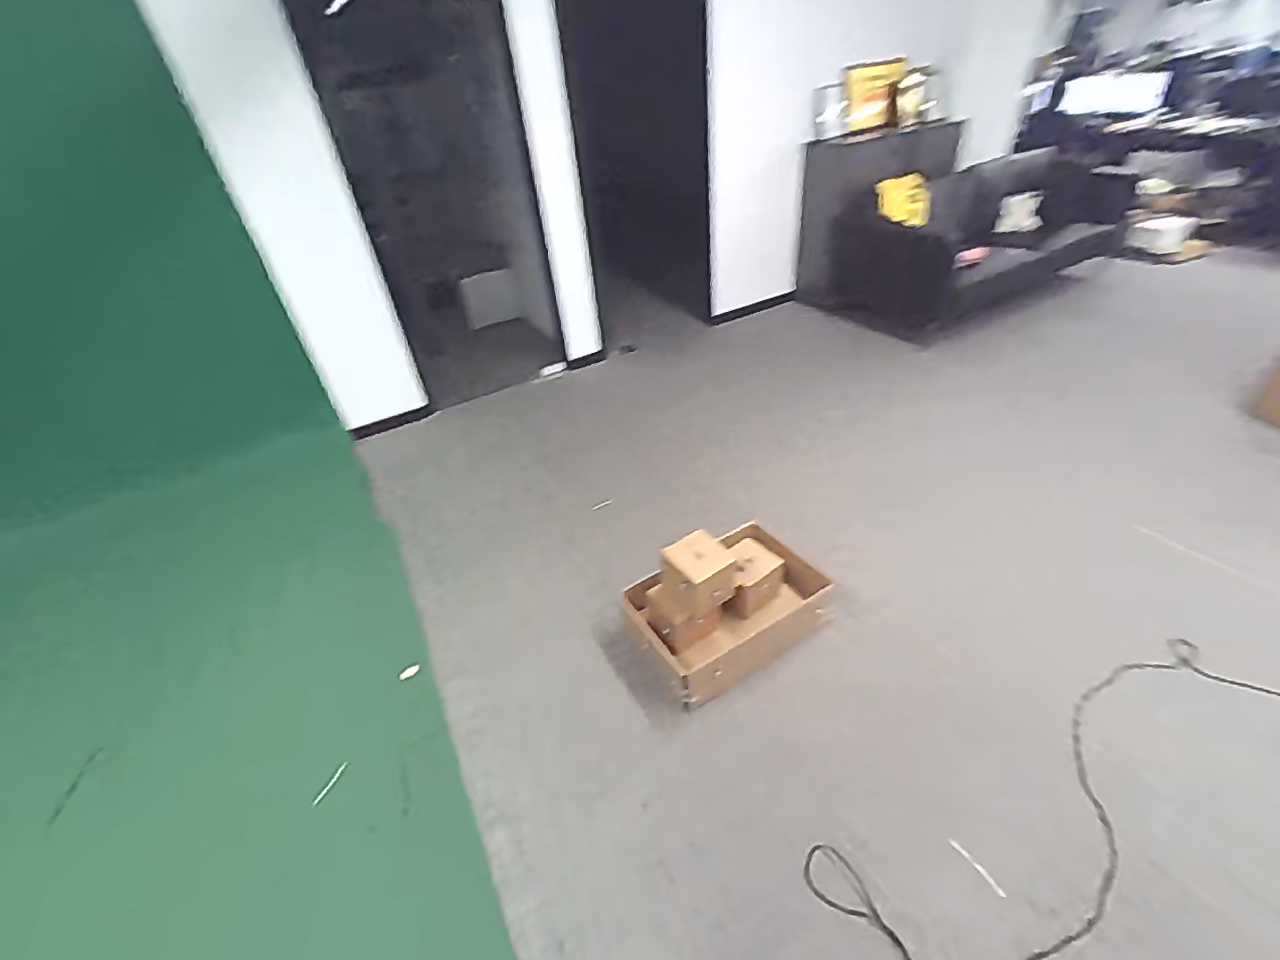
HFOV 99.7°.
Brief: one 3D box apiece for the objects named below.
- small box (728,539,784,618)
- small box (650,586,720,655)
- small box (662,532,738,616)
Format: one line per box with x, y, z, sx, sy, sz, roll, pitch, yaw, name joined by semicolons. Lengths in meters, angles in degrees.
0.380;0.344;1.877;0.179;0.176;0.168;-29;42;-27;small box
0.152;0.442;1.785;0.179;0.176;0.168;-25;41;-26;small box
0.188;0.301;1.695;0.168;0.176;0.179;-26;42;-27;small box
